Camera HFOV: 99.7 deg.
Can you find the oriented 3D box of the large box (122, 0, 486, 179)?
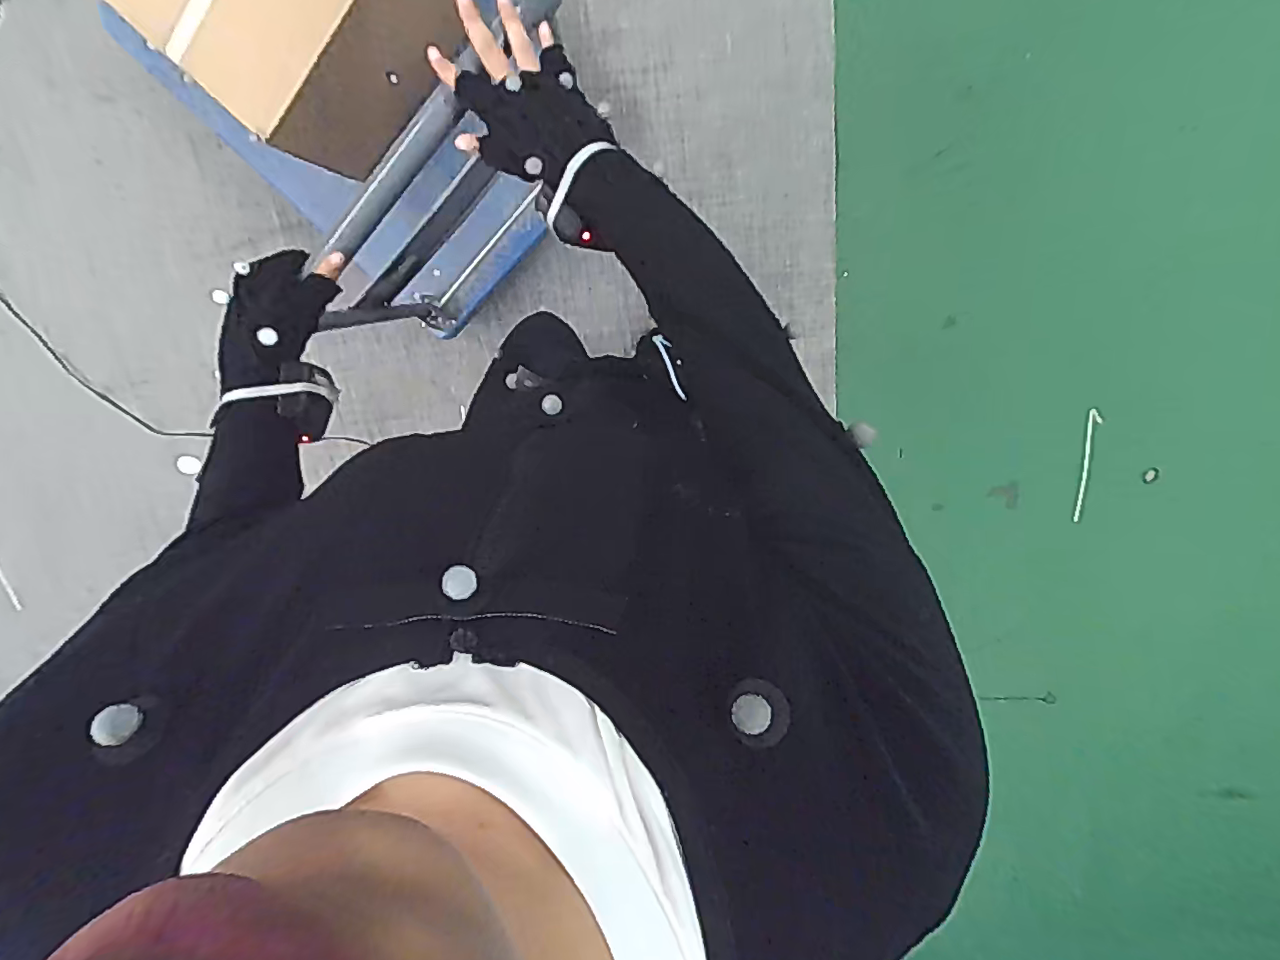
[{"bbox_3d":[-0.537,-0.816,0.923,0.320,0.320,0.408,43,105,-10],"label":"large box"}]
